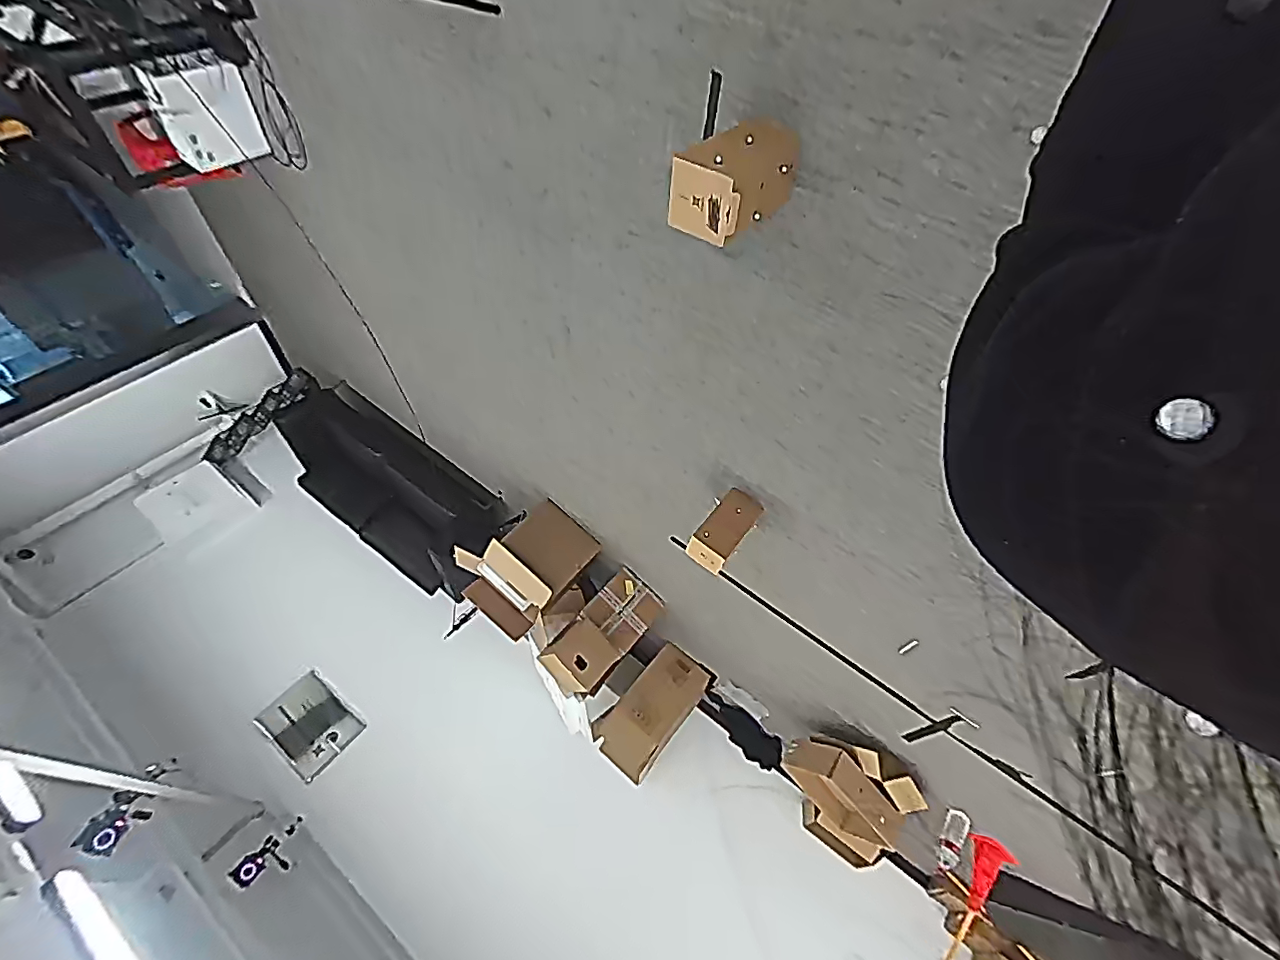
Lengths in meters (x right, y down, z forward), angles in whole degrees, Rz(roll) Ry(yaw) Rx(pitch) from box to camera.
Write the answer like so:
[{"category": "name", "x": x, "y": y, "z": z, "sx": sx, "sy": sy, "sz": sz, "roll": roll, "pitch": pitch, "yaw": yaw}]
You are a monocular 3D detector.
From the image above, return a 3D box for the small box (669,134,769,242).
[{"category": "small box", "x": 0.195, "y": -0.725, "z": 1.334, "sx": 0.179, "sy": 0.176, "sz": 0.168, "roll": 32, "pitch": 147, "yaw": 21}]

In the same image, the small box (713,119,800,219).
[{"category": "small box", "x": 0.294, "y": -0.823, "z": 1.422, "sx": 0.179, "sy": 0.176, "sz": 0.168, "roll": 32, "pitch": 147, "yaw": 22}]

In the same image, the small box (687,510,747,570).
[{"category": "small box", "x": 0.333, "y": 0.254, "z": 2.354, "sx": 0.179, "sy": 0.176, "sz": 0.168, "roll": 36, "pitch": 149, "yaw": 14}]
